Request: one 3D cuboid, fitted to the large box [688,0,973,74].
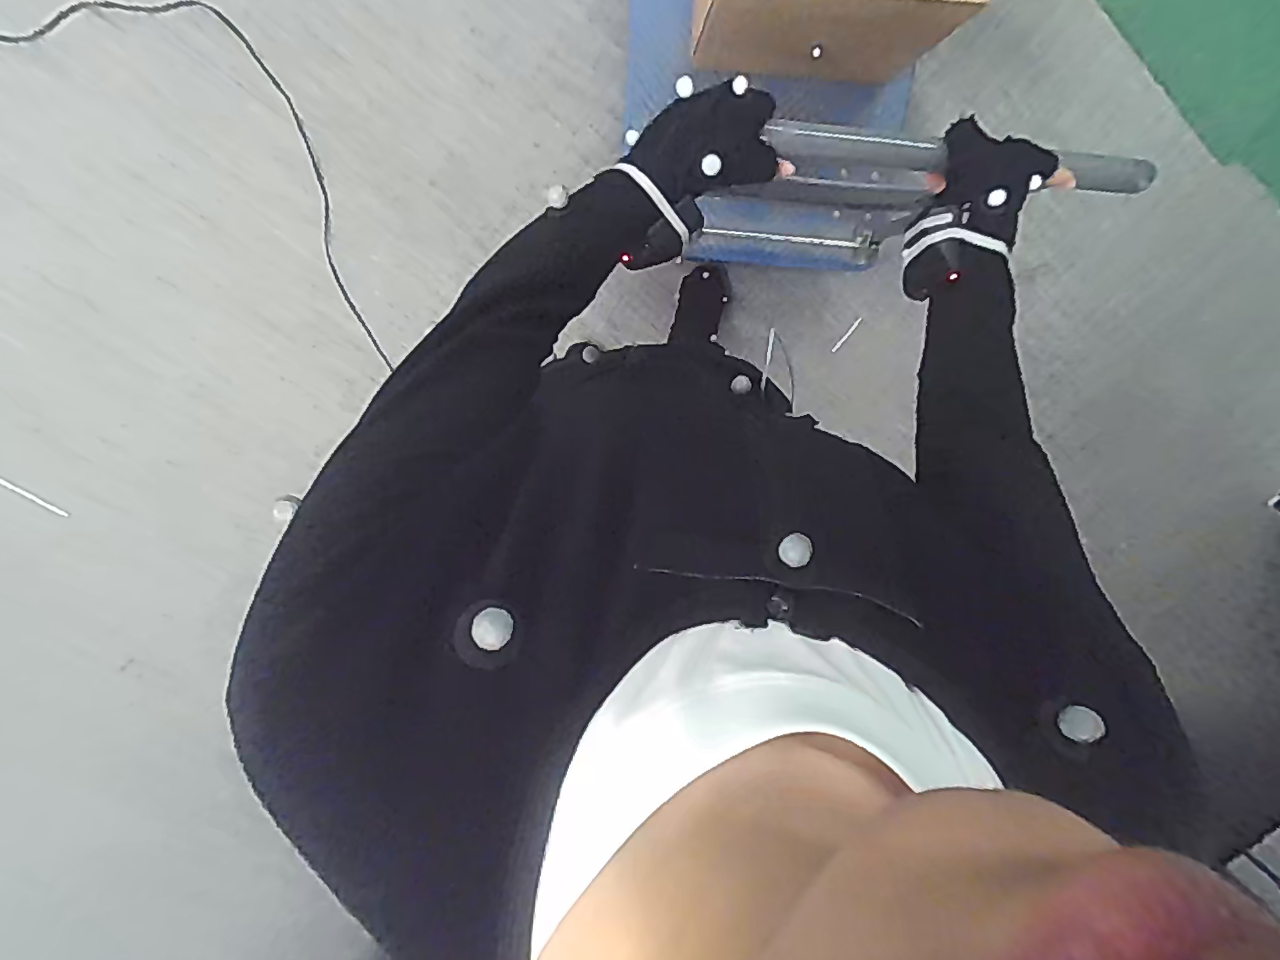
[{"bbox_3d":[0.305,-0.908,0.887,0.408,0.320,0.320,1,108,-4],"label":"large box"}]
